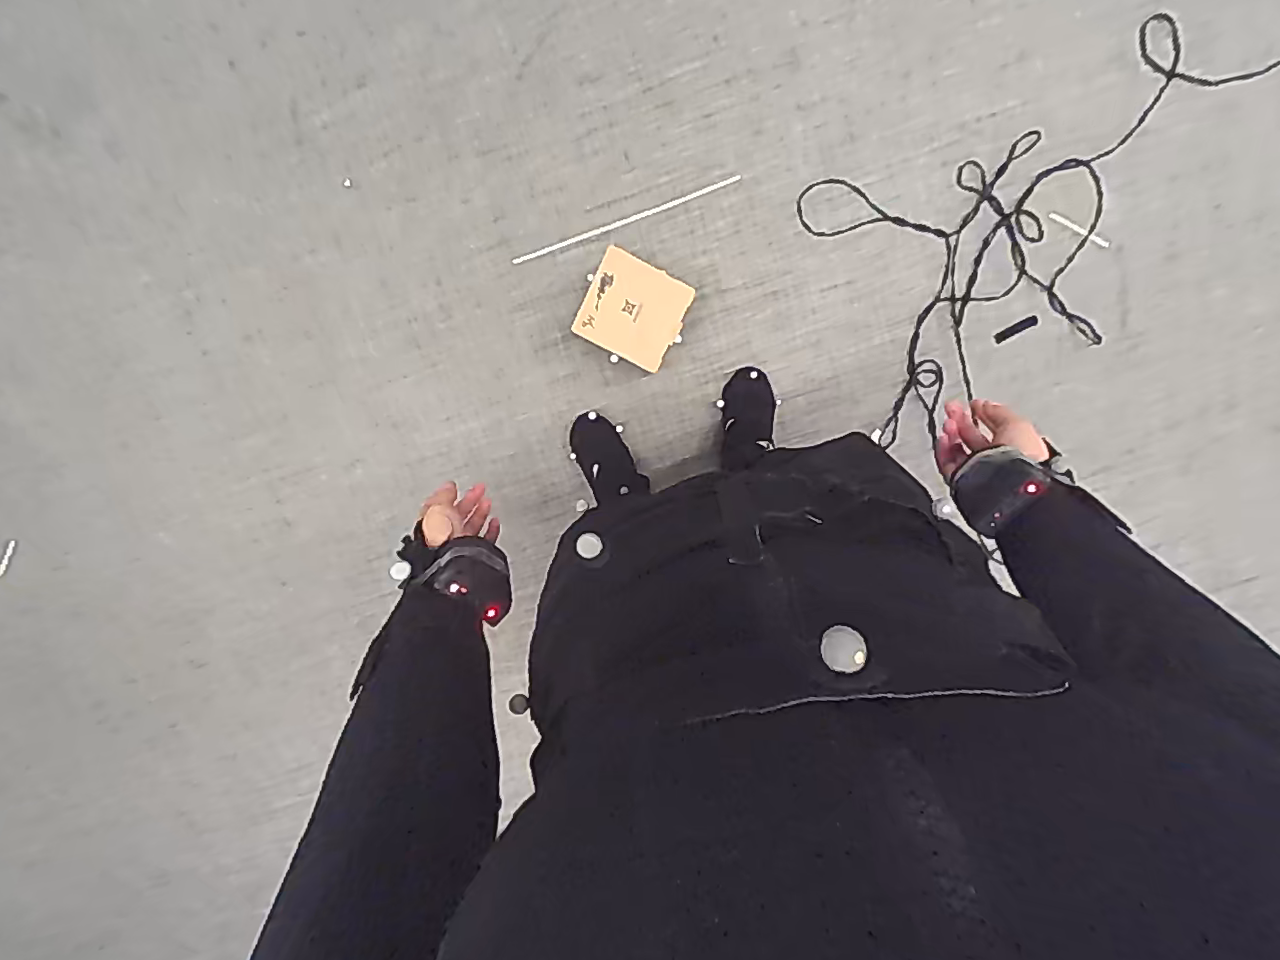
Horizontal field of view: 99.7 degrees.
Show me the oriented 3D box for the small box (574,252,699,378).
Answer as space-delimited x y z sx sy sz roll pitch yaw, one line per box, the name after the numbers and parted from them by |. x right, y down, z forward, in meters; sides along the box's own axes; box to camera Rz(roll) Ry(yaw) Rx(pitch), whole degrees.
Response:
-0.007 -0.314 1.052 0.179 0.176 0.168 27 101 -5 | small box
